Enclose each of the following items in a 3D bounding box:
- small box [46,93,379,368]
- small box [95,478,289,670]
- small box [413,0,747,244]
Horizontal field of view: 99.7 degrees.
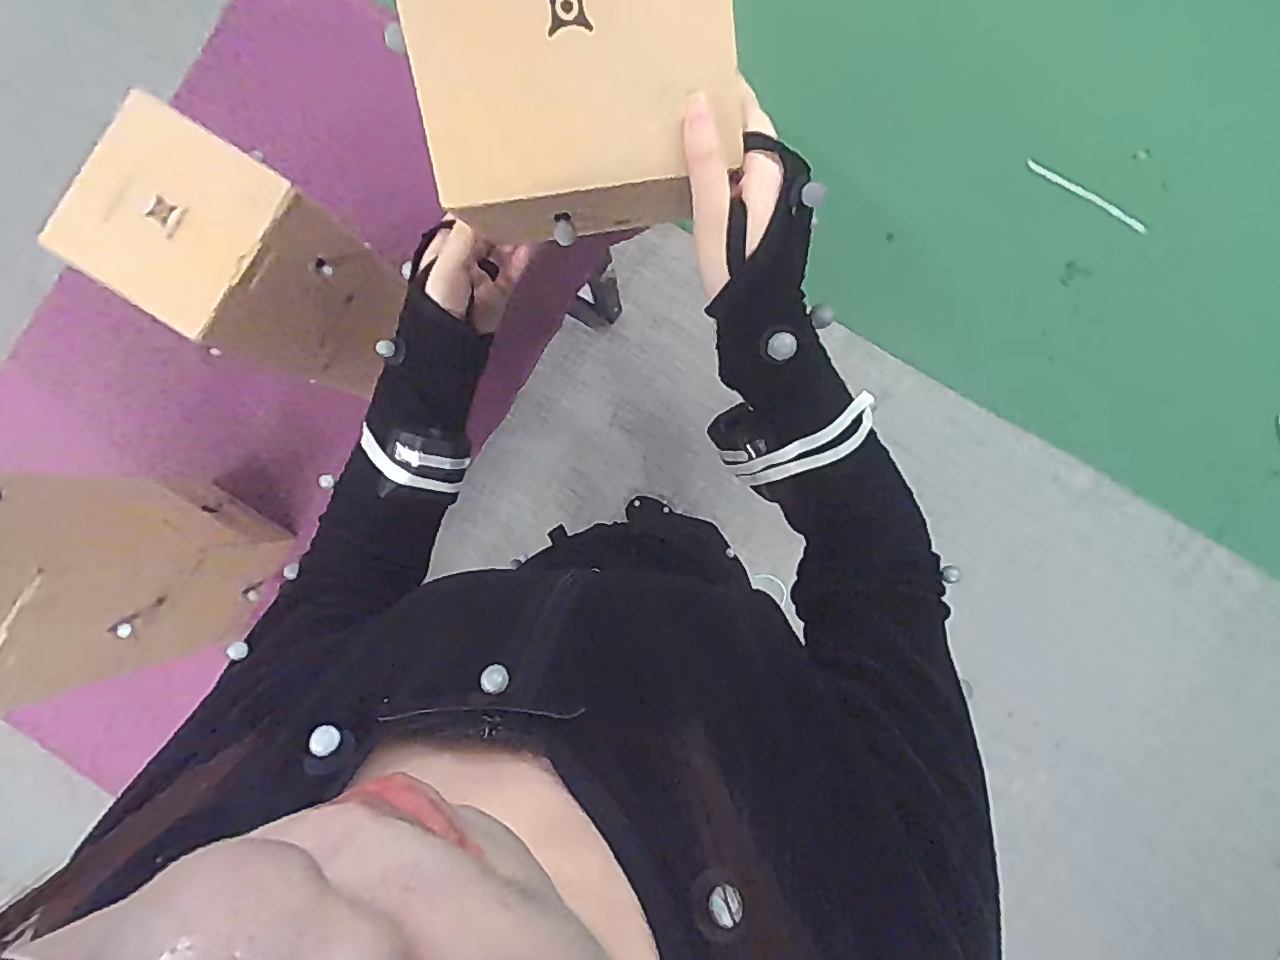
[{"bbox_3d":[-0.414,-0.233,0.561,0.179,0.176,0.168,32,90,2],"label":"small box"},{"bbox_3d":[-0.619,0.114,0.724,0.168,0.176,0.179,30,89,3],"label":"small box"},{"bbox_3d":[-0.034,-0.258,0.349,0.168,0.176,0.179,-8,107,-2],"label":"small box"}]
